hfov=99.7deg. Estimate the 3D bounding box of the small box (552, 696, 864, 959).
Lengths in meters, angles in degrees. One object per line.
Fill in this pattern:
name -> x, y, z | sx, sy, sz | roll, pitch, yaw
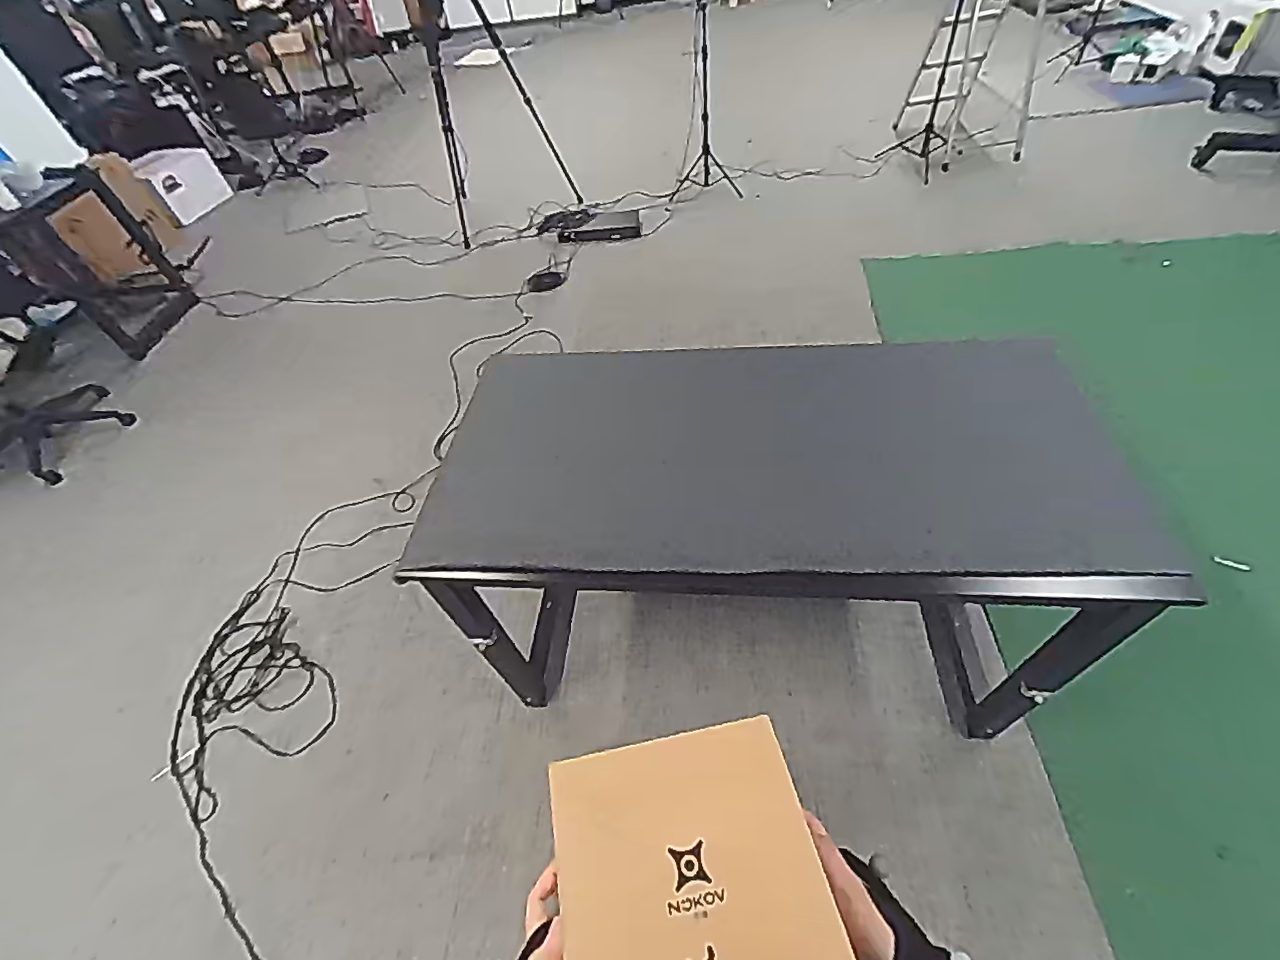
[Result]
small box -> 0.034, 0.287, 0.389 | 0.168, 0.176, 0.179 | -10, 47, -6
